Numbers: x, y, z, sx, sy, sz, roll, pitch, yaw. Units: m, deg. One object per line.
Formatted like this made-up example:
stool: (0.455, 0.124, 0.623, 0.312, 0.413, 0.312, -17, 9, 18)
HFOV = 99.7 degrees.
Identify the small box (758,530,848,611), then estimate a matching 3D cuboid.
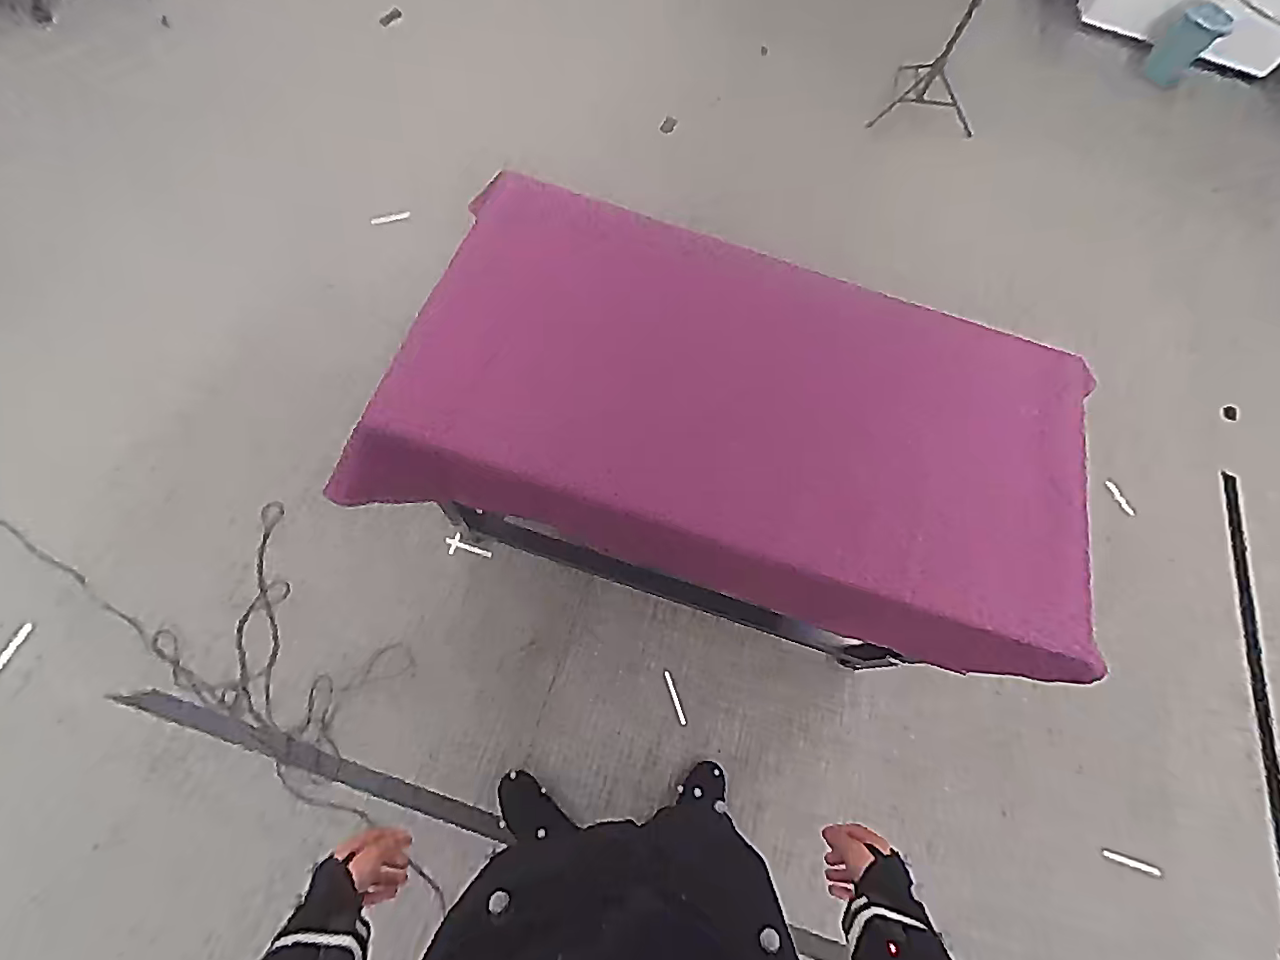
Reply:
small box: (0.448, 0.258, 1.521, 0.168, 0.176, 0.179, -8, 69, -9)
